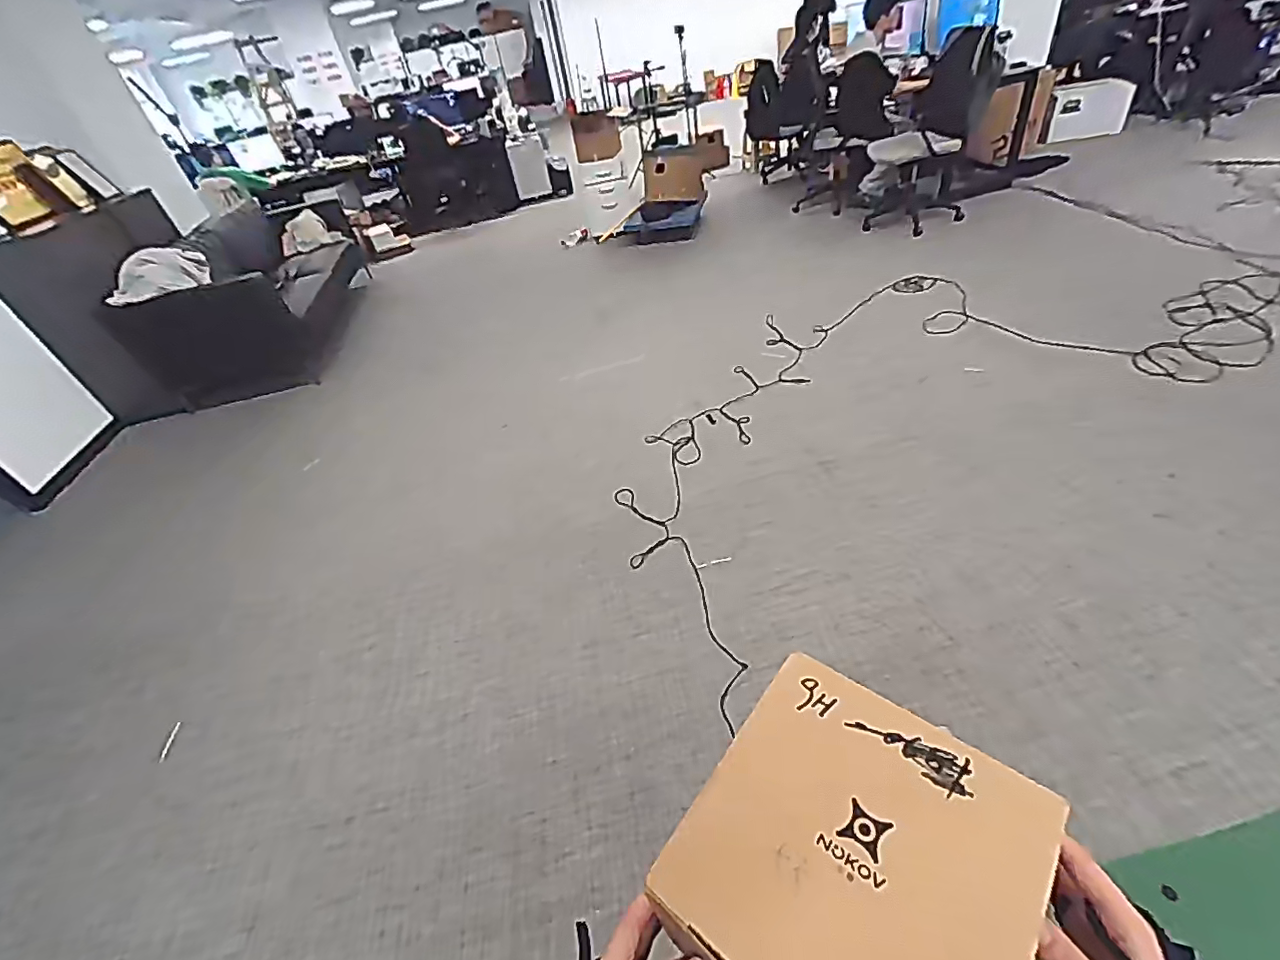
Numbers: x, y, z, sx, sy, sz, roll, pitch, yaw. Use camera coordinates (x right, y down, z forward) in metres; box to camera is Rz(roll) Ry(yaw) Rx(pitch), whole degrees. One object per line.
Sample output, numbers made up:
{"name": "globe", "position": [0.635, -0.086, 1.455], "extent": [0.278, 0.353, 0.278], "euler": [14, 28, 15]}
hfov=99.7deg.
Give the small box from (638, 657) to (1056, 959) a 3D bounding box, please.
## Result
{"name": "small box", "position": [0.126, 0.262, 0.350], "extent": [0.168, 0.176, 0.179], "euler": [24, 53, 33]}
